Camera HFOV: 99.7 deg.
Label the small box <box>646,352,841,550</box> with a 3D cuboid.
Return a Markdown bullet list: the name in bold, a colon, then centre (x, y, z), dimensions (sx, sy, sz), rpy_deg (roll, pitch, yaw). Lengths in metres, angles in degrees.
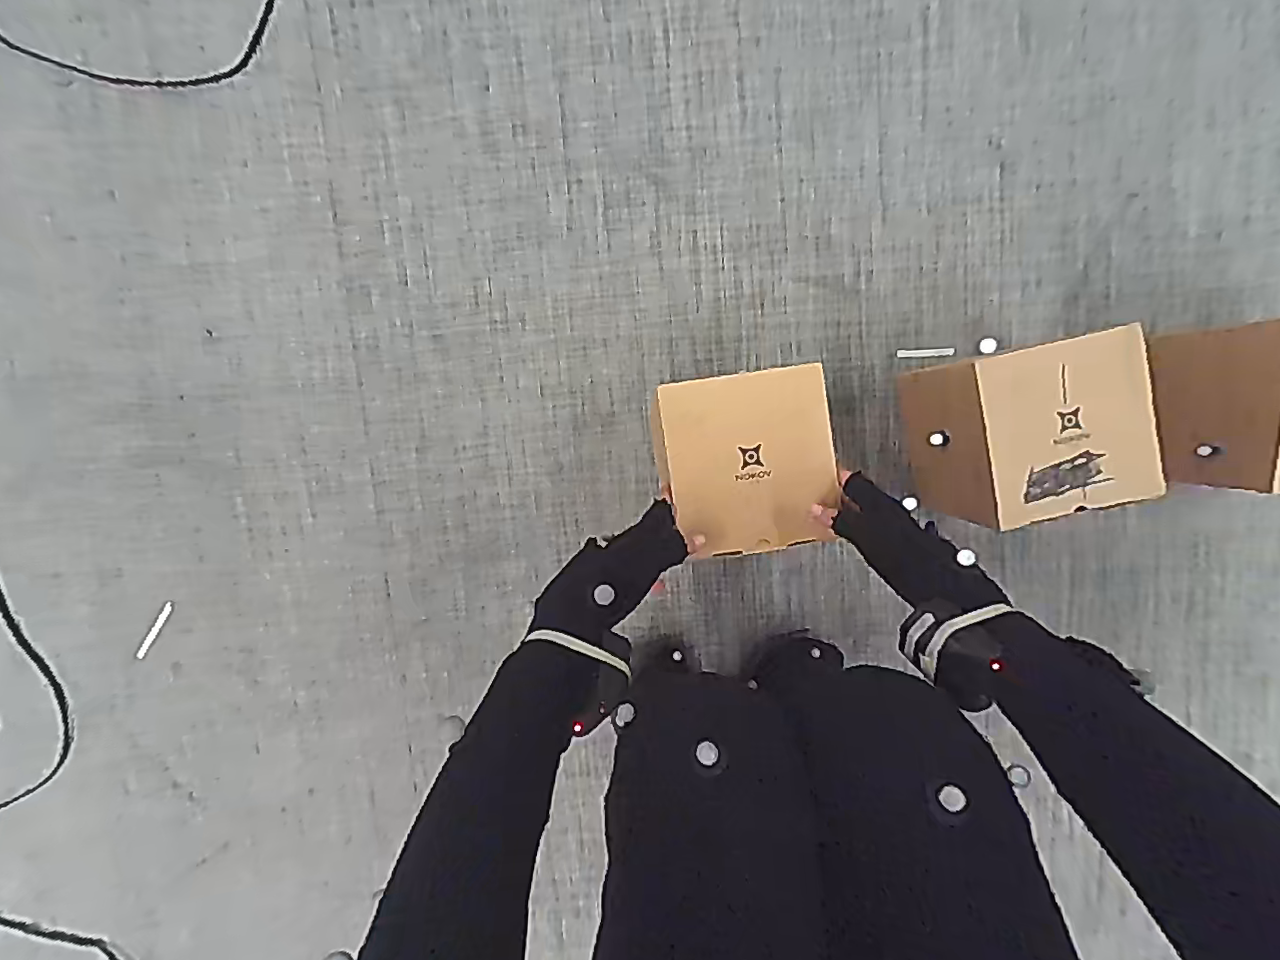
- **small box**: centre (0.101, -0.028, 0.603), dimensions (0.168, 0.176, 0.179), rpy_deg (-9, 91, -1)

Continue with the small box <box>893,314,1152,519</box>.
- **small box**: centre (0.412, -0.070, 0.610), dimensions (0.168, 0.176, 0.179), rpy_deg (-13, 96, 2)
